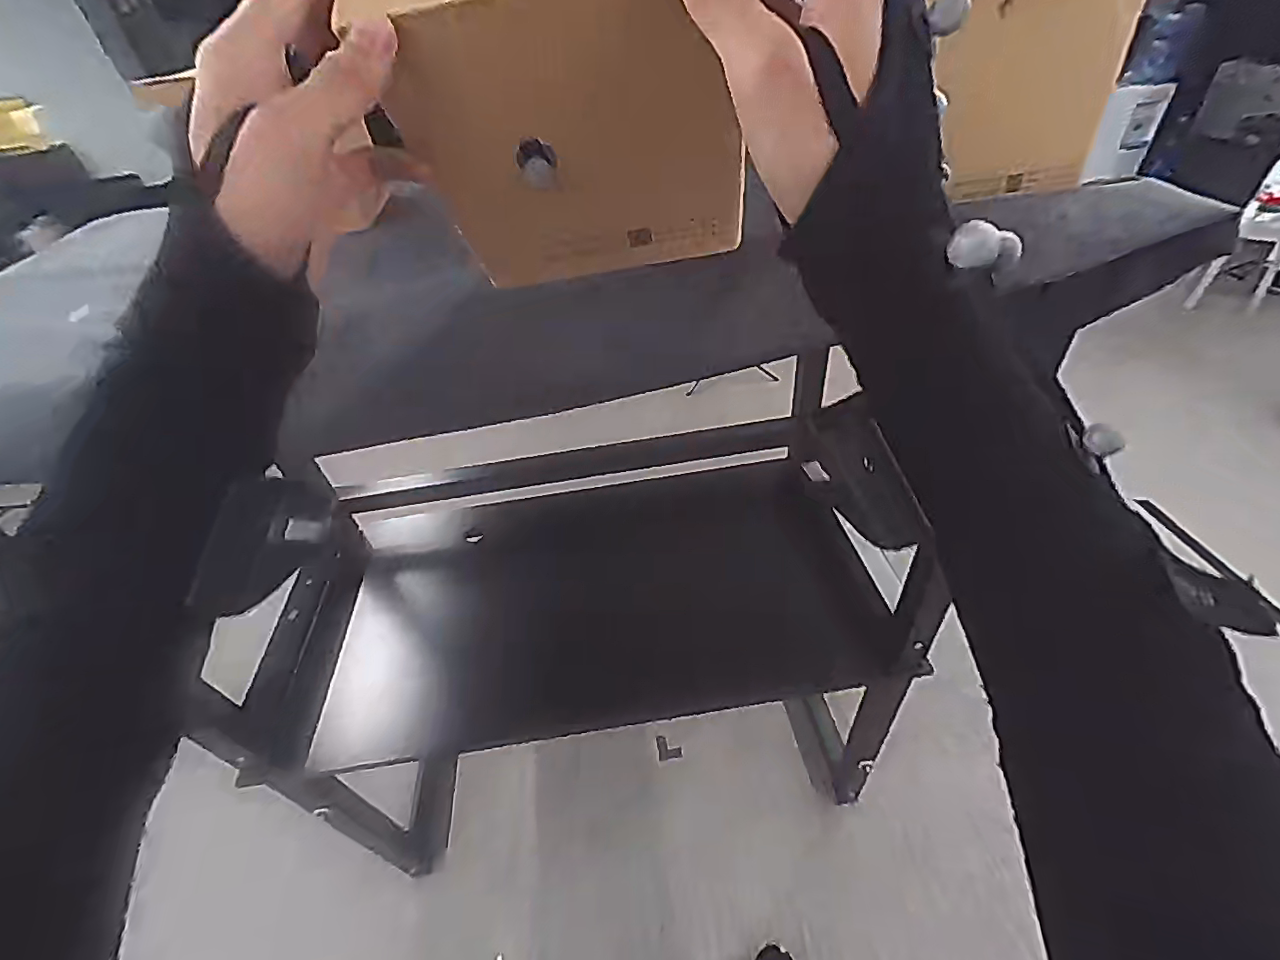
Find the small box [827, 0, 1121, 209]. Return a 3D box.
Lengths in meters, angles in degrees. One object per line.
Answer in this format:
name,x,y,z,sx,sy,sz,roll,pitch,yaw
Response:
small box,0.282,-0.357,0.490,0.168,0.176,0.179,-8,38,1

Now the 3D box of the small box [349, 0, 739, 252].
small box,-0.033,-0.257,0.314,0.168,0.176,0.179,-6,70,7
